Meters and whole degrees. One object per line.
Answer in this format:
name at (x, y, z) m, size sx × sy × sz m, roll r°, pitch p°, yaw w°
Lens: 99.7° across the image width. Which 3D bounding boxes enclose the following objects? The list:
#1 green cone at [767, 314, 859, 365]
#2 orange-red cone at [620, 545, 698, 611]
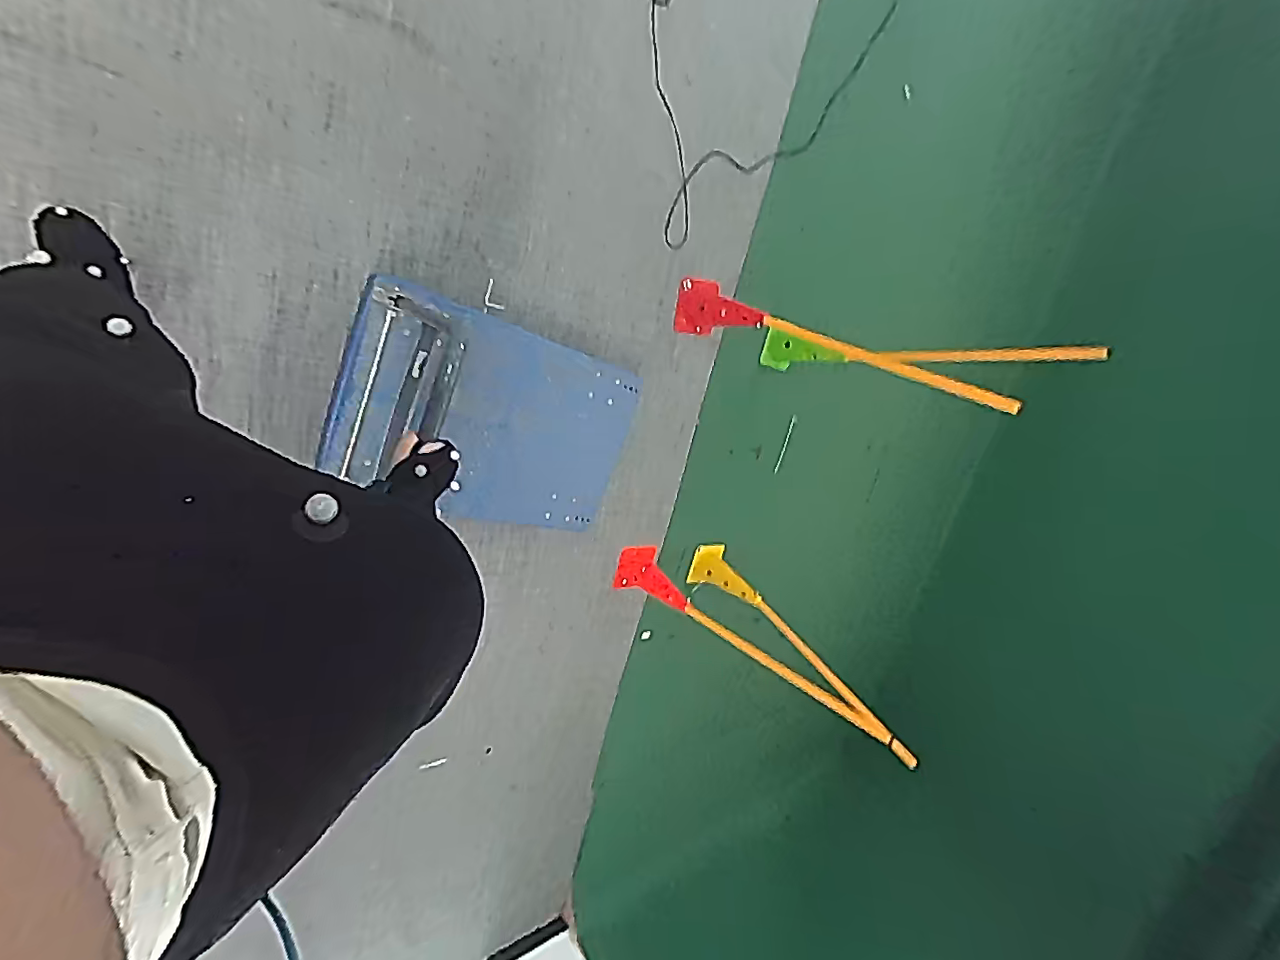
green cone at (0.751, -0.565, 2.285) m, size 0.202 × 0.368 × 0.200 m, roll 2°, pitch 109°, yaw -40°
orange-red cone at (0.109, 0.436, 2.251) m, size 0.199 × 0.360 × 0.198 m, roll 2°, pitch 110°, yaw -41°
